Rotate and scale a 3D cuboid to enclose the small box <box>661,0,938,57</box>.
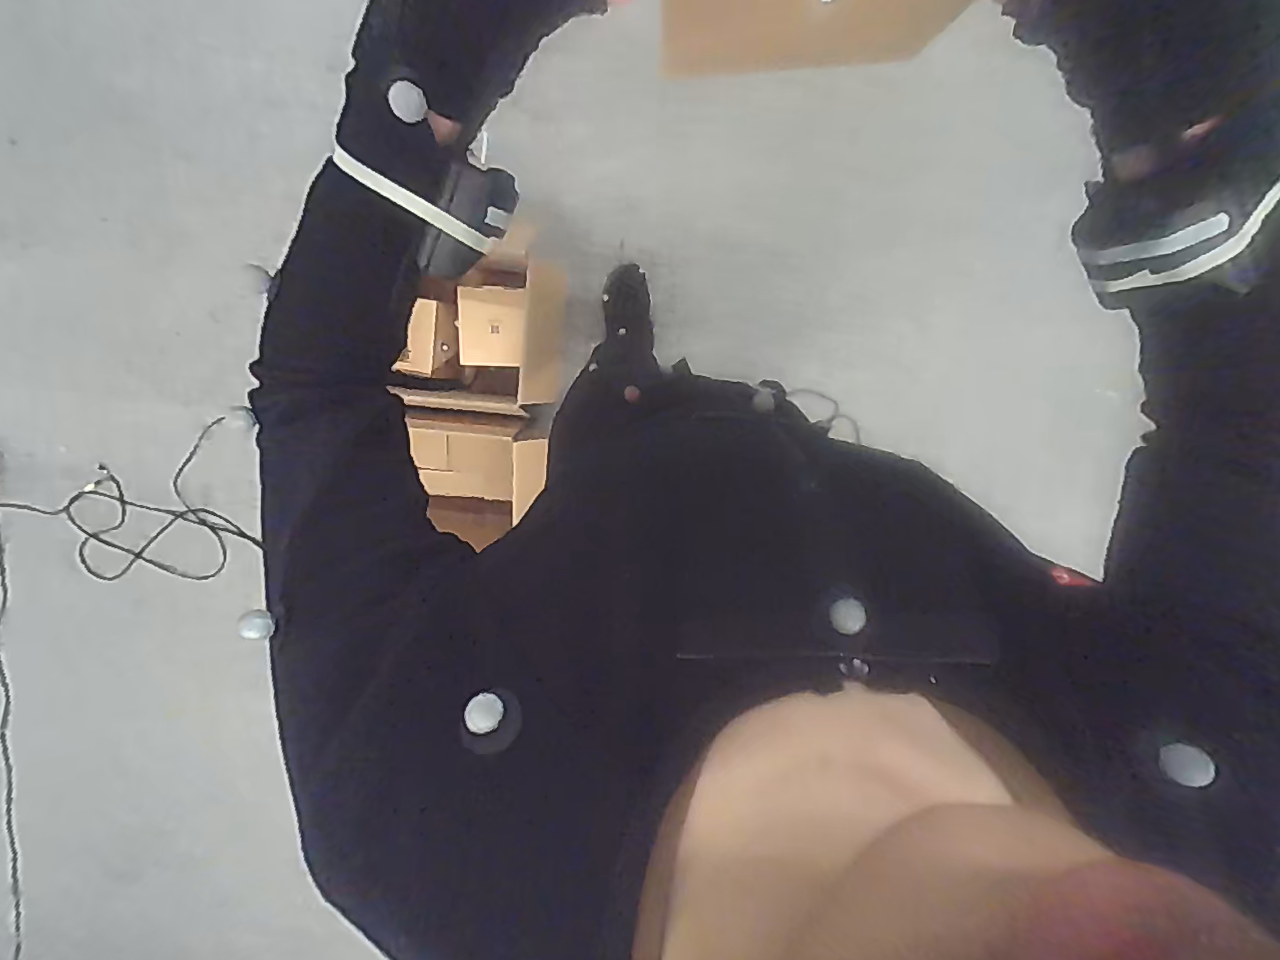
[{"bbox_3d":[0.097,-0.351,0.279,0.179,0.176,0.168,-3,108,1],"label":"small box"}]
